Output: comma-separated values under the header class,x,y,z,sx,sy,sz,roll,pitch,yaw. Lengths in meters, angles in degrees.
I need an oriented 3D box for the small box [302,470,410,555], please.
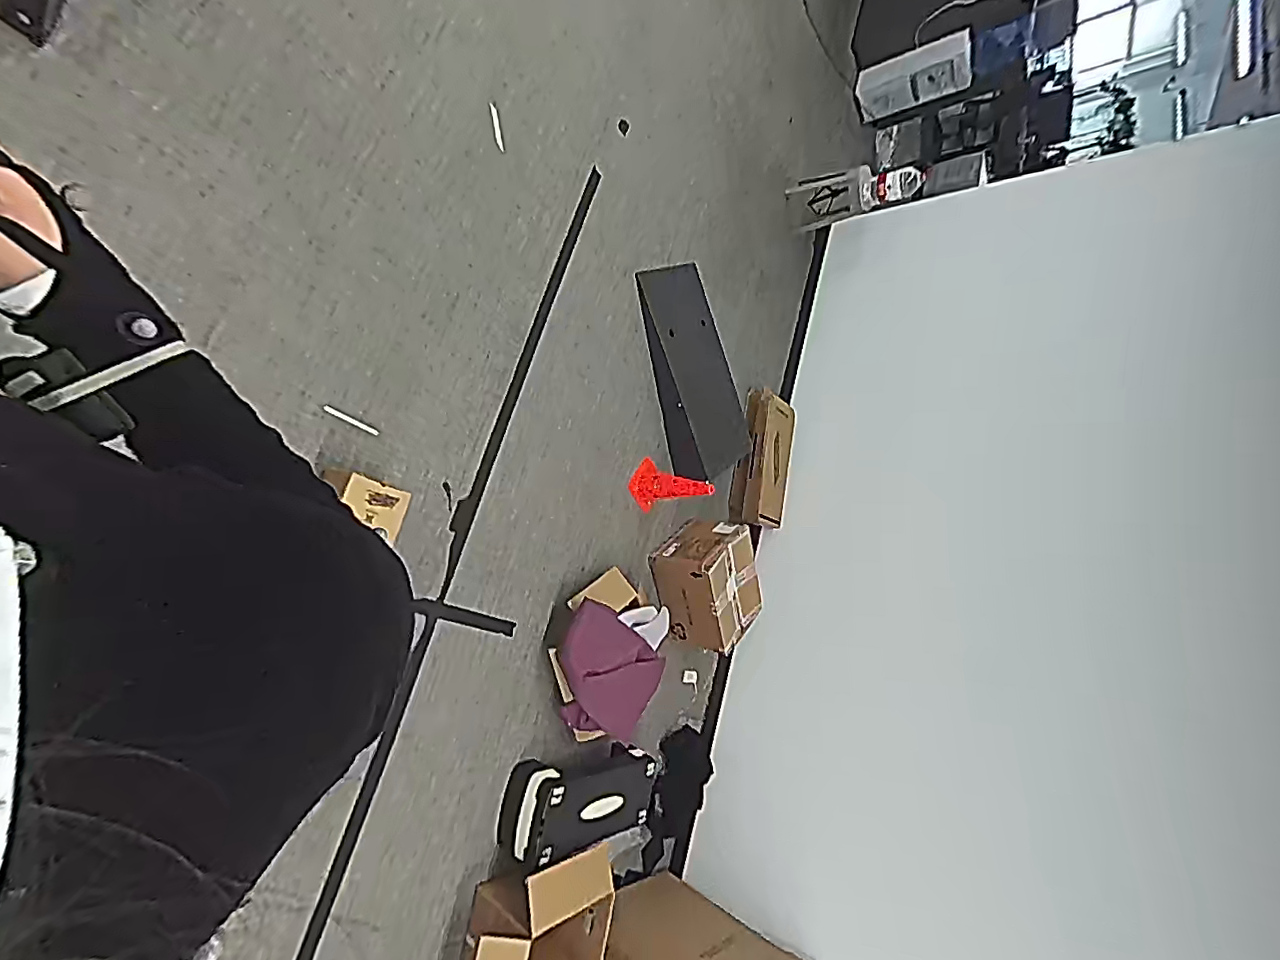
class,x,y,z,sx,sy,sz,roll,pitch,yaw
small box,-0.739,0.082,1.403,0.168,0.176,0.179,31,70,-48
